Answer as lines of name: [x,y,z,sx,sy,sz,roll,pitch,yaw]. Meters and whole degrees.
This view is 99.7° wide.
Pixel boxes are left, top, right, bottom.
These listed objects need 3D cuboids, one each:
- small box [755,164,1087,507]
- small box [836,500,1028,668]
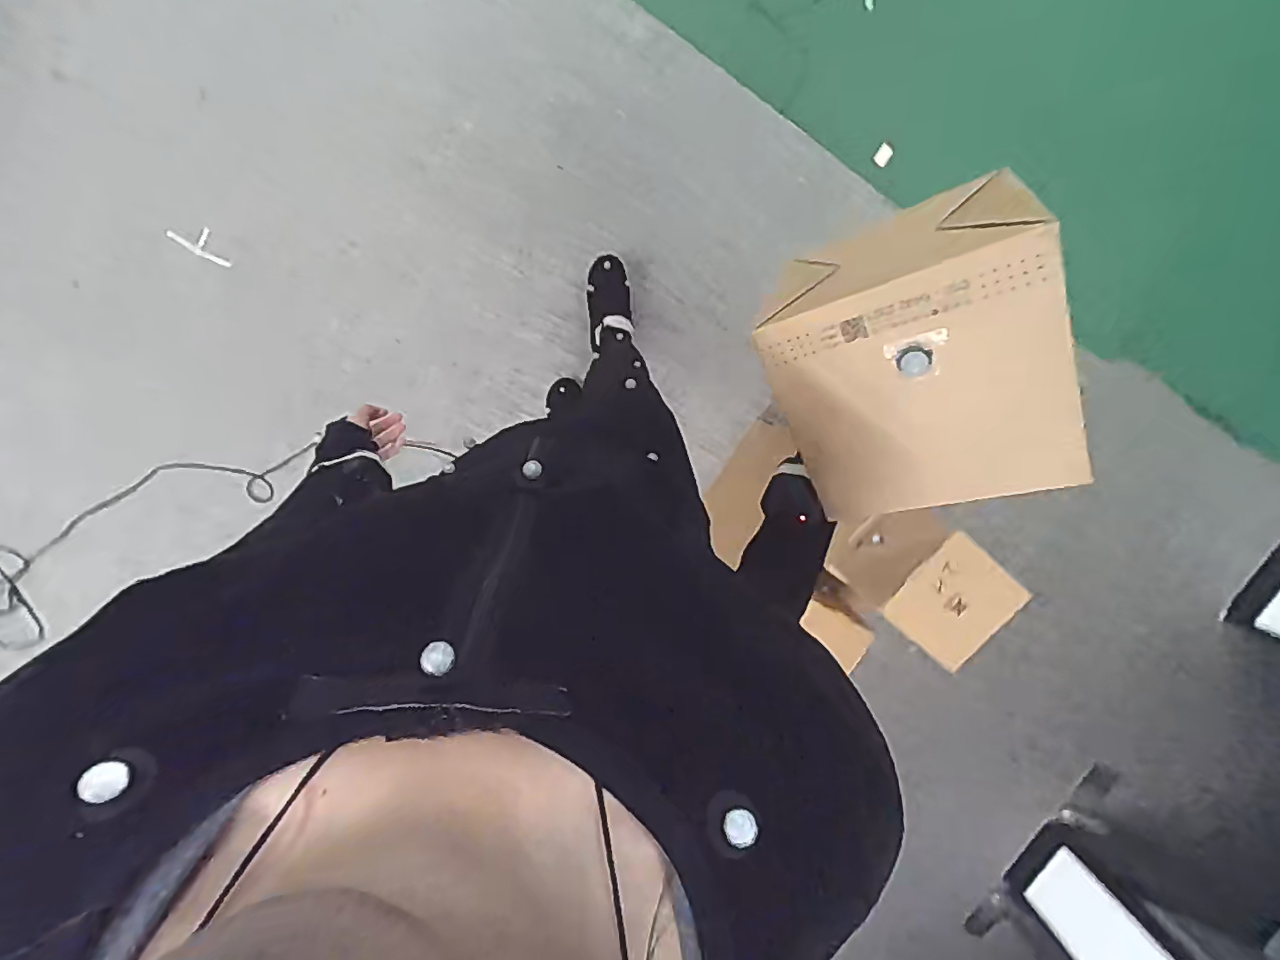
small box: [0.204,-0.108,0.404,0.168,0.179,0.176,-13,120,33]
small box: [0.459,0.157,0.876,0.179,0.176,0.168,39,99,-13]
